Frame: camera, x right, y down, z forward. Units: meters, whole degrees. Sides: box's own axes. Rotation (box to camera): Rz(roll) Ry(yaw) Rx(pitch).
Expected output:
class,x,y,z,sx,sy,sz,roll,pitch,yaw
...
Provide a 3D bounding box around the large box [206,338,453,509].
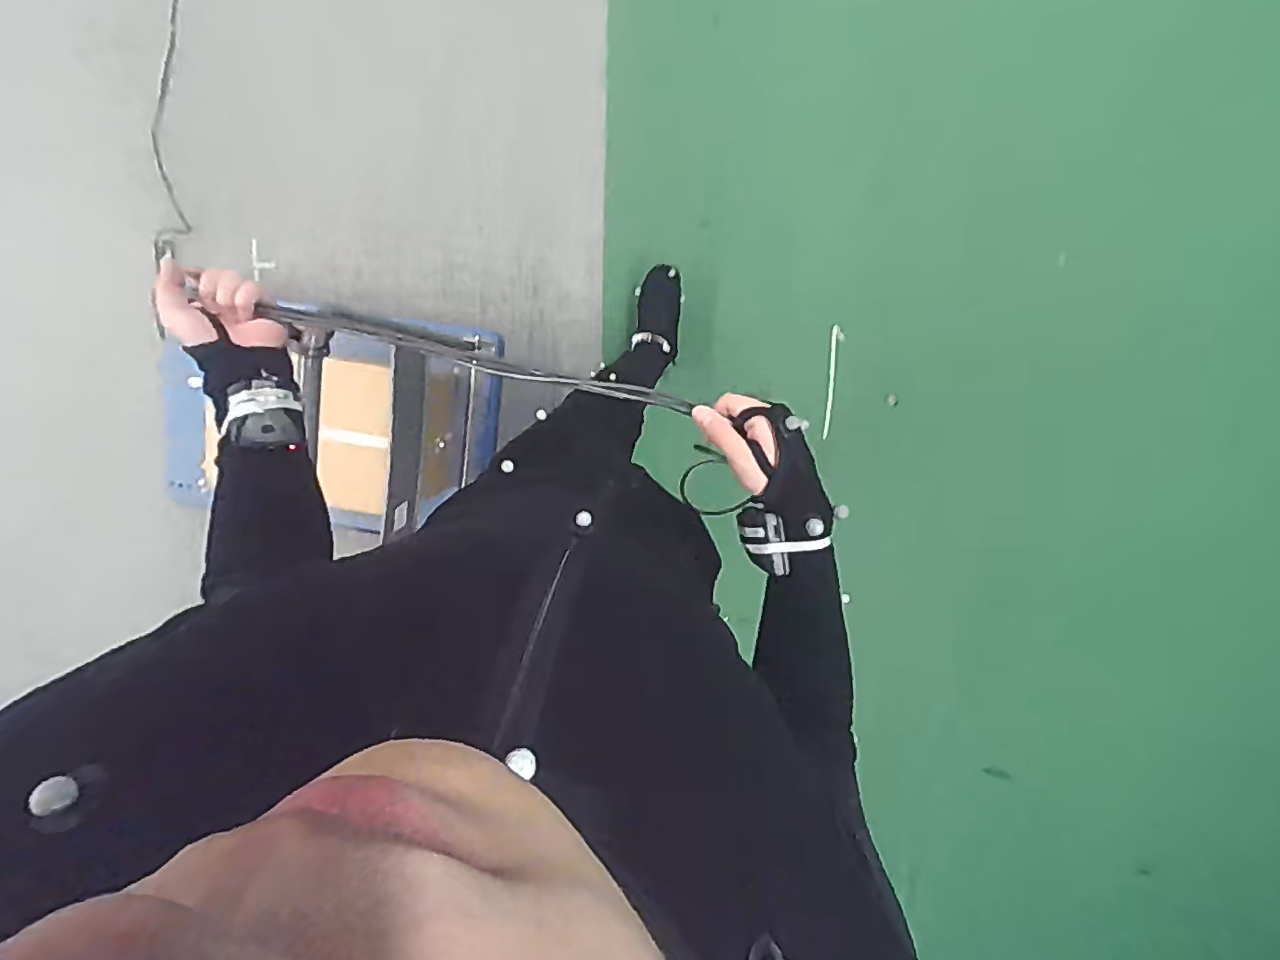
class,x,y,z,sx,sy,sz,roll,pitch,yaw
large box,-0.692,-0.140,1.262,0.408,0.320,0.320,9,100,1
